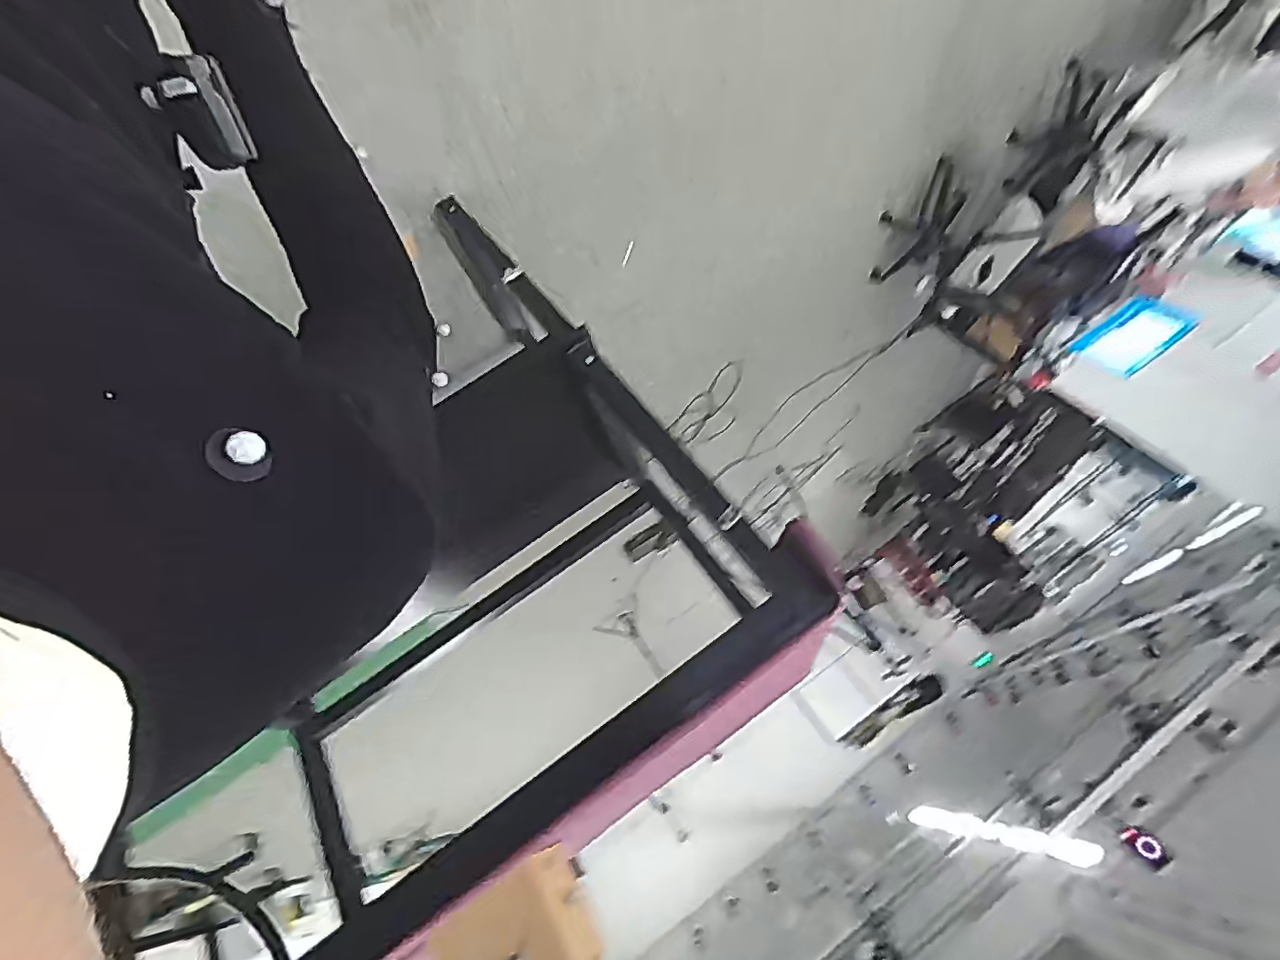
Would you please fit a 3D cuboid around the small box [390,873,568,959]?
[{"bbox_3d":[-0.225,0.696,0.768,0.179,0.176,0.168,-33,152,-11],"label":"small box"}]
